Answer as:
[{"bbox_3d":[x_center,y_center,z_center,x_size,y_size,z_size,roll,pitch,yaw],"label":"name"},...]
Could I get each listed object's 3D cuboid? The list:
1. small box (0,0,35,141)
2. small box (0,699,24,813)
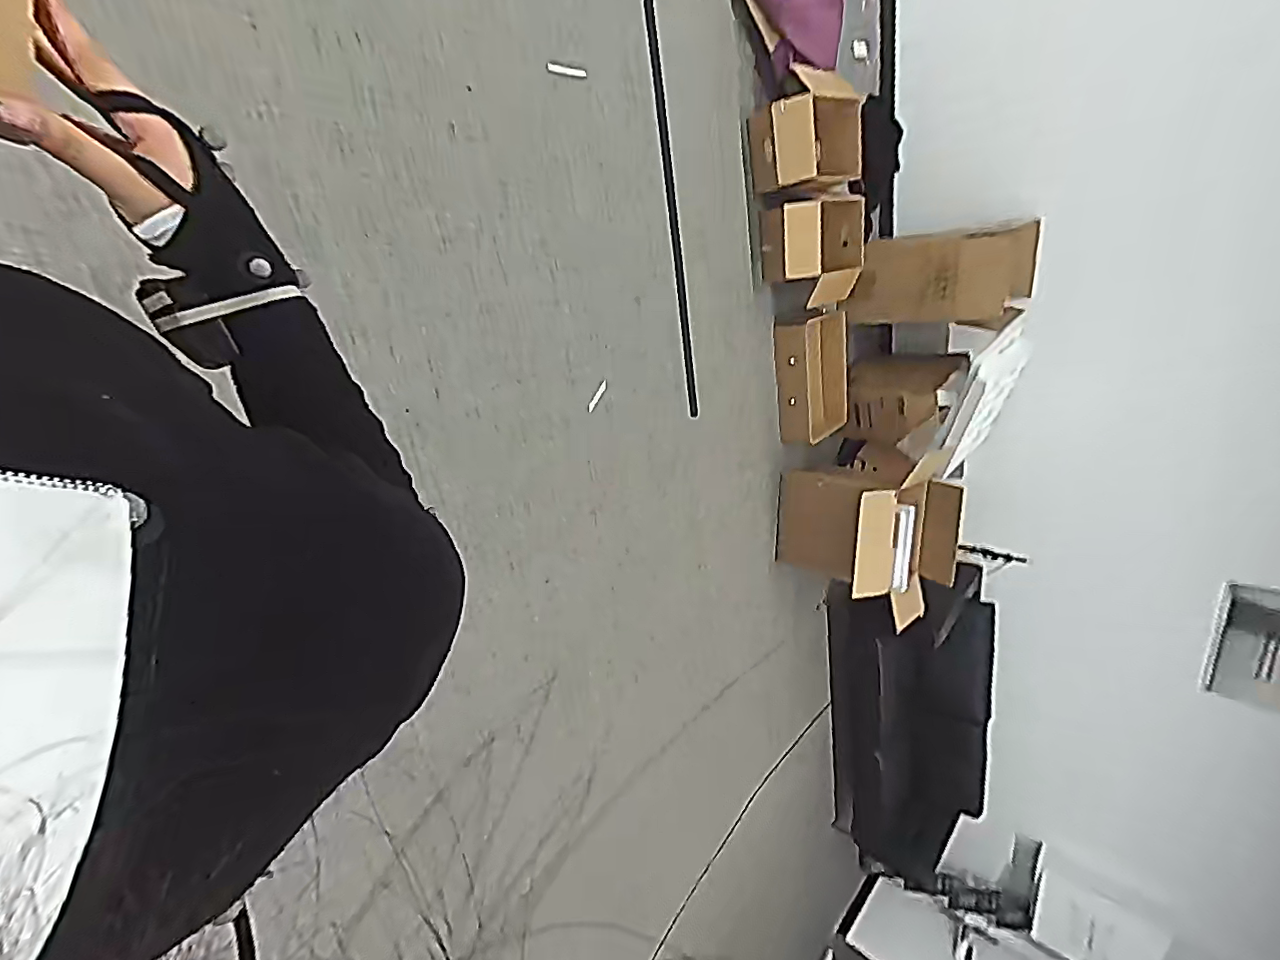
[{"bbox_3d":[-0.426,-0.302,0.268,0.168,0.176,0.179,-1,107,-49],"label":"small box"},{"bbox_3d":[-1.010,0.393,0.749,0.168,0.176,0.179,-22,114,-41],"label":"small box"}]
